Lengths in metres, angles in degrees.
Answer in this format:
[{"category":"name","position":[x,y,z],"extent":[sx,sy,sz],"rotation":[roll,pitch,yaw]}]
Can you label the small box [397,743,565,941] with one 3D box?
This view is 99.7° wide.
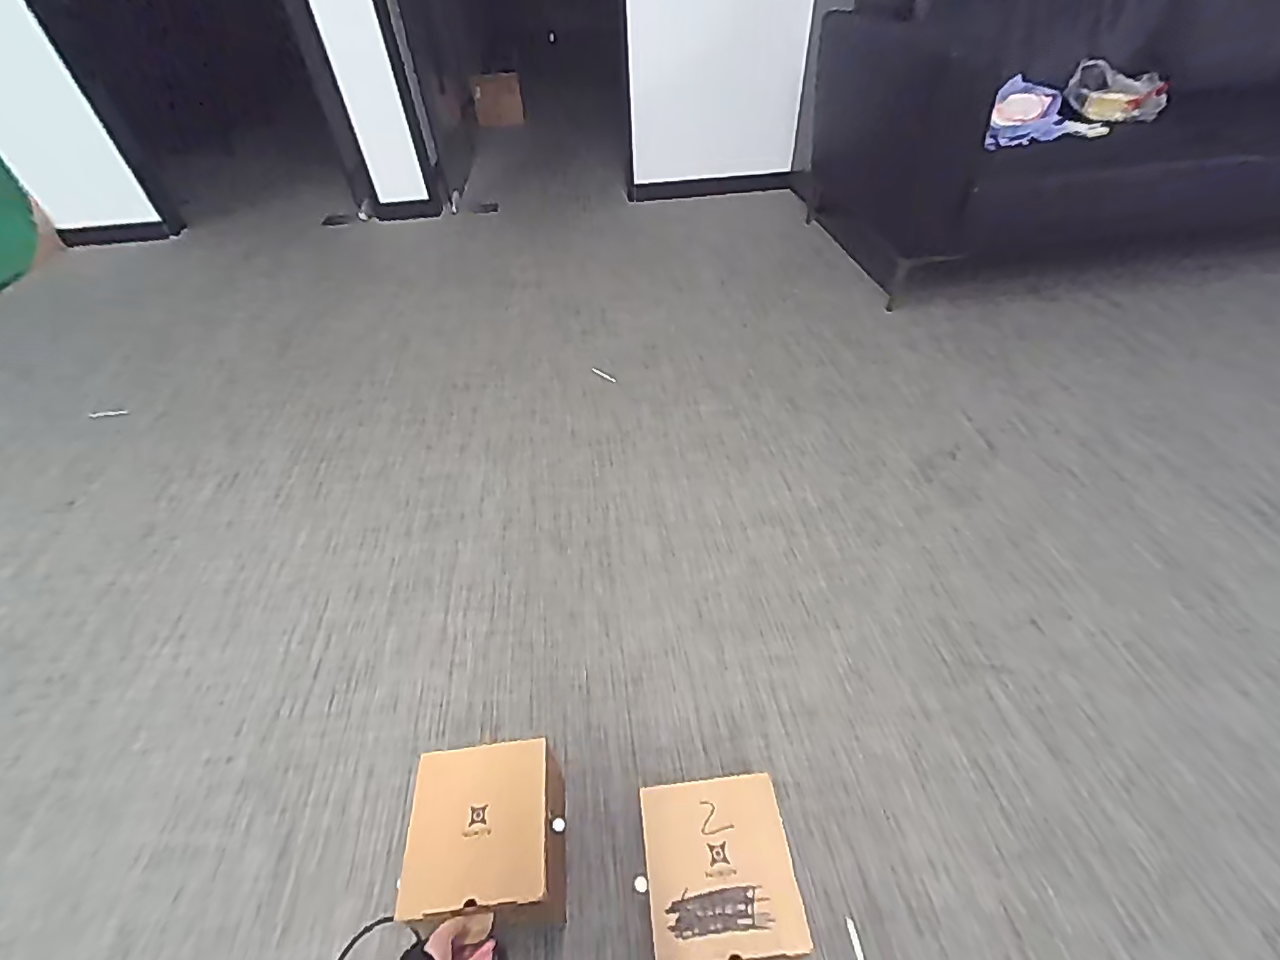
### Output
[{"category":"small box","position":[-0.192,0.474,0.710],"extent":[0.168,0.176,0.179],"rotation":[-6,45,-3]}]
